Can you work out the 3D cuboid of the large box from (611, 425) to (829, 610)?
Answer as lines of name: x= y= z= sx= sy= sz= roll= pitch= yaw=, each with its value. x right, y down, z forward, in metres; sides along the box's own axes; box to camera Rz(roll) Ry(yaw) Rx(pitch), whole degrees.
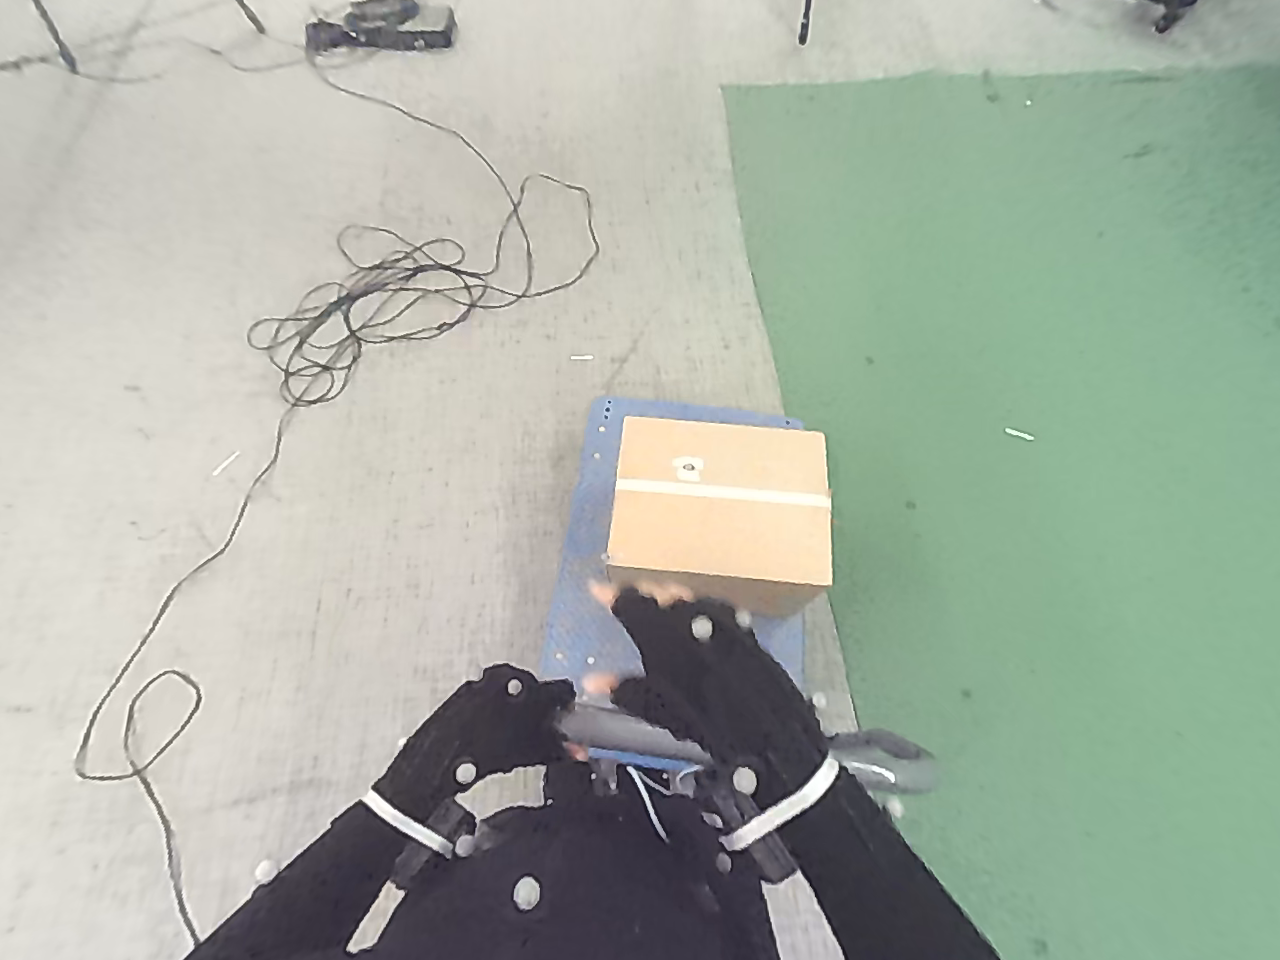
large box: x=0.160 y=0.096 z=1.176 sx=0.408 sy=0.320 sz=0.320 roll=4 pitch=66 yaw=3
